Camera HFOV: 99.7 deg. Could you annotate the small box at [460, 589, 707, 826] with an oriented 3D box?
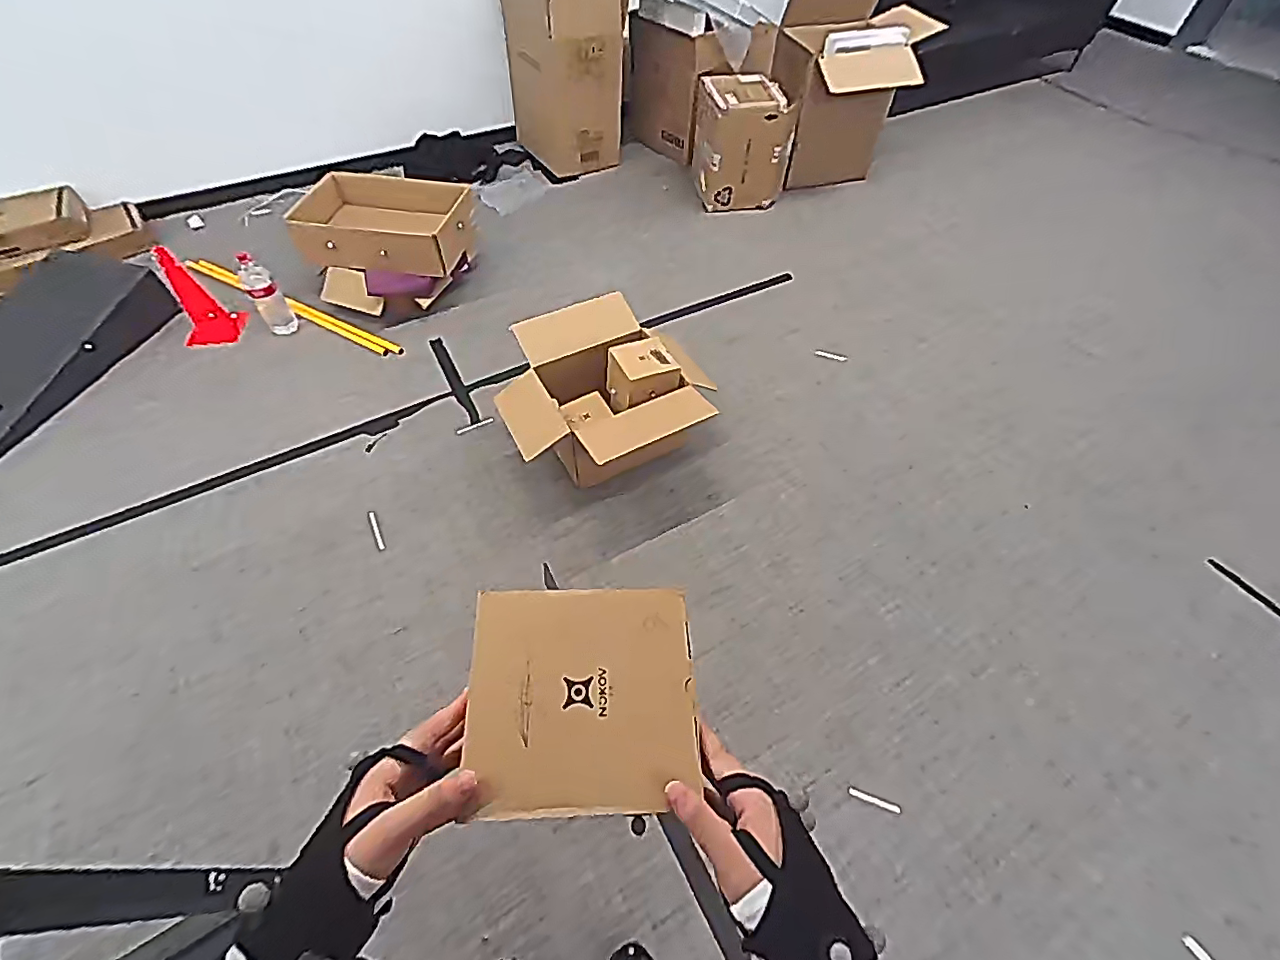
[{"bbox_3d":[-0.048,0.206,0.487,0.179,0.176,0.168,-2,59,-5],"label":"small box"}]
